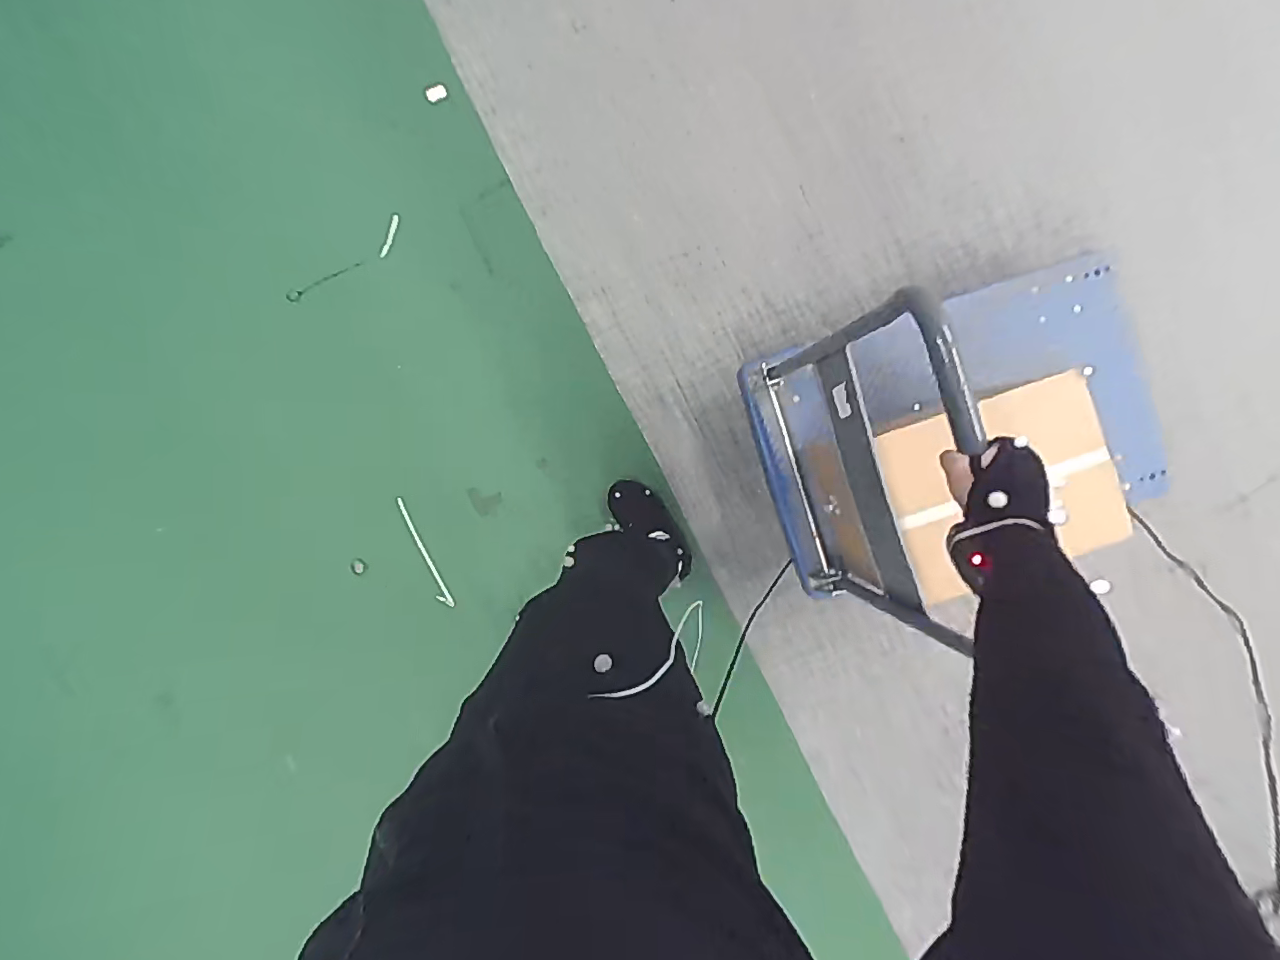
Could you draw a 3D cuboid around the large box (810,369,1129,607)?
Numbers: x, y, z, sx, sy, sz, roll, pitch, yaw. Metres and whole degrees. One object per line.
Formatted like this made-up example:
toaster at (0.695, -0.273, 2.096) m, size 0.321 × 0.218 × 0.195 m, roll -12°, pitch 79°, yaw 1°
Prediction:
large box at (0.623, 0.013, 1.094) m, size 0.408 × 0.320 × 0.320 m, roll -19°, pitch 93°, yaw 0°
